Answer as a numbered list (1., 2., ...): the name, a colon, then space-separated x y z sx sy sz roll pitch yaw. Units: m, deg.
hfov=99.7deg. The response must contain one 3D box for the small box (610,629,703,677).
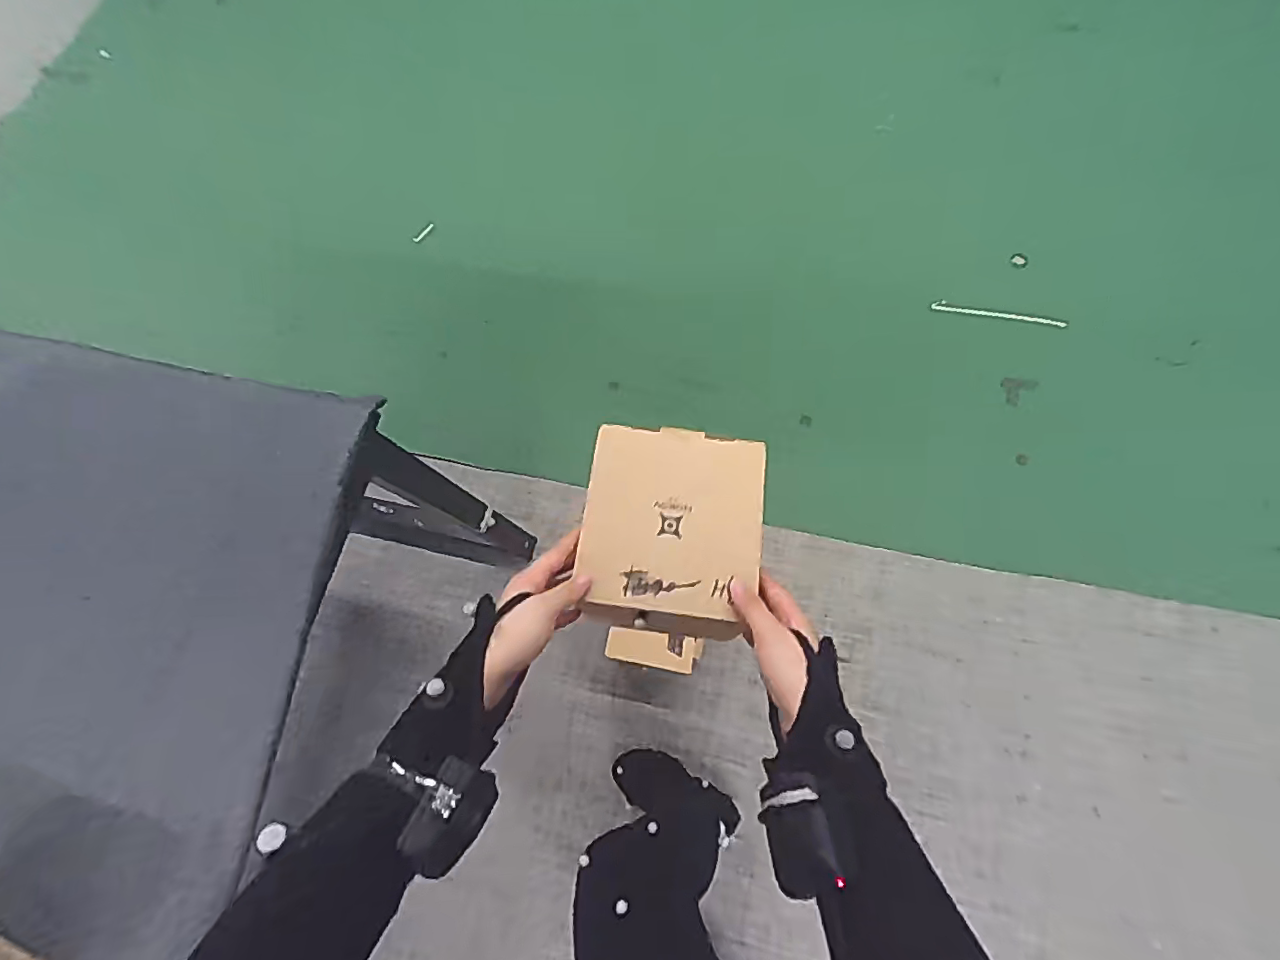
1. small box: 0.049 0.310 1.145 0.179 0.176 0.168 9 74 10

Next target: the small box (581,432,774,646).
1. small box: 0.040 0.071 0.578 0.168 0.176 0.179 7 69 4
